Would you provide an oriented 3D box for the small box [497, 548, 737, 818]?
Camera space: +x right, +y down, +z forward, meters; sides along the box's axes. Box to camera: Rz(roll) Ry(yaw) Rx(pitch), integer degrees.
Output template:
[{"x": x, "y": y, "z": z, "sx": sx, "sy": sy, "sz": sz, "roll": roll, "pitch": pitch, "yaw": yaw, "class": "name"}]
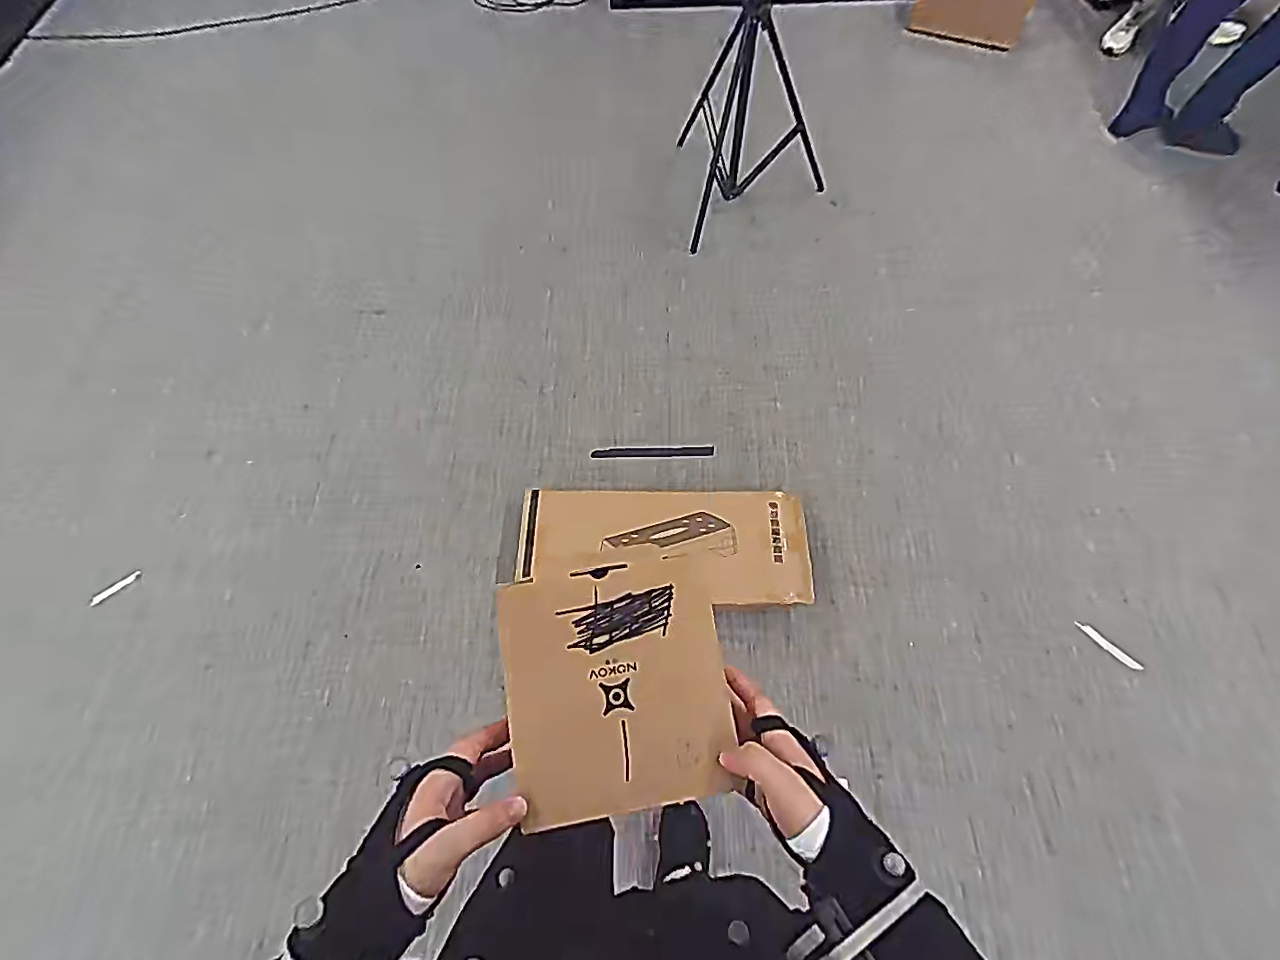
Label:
[{"x": -0.024, "y": 0.168, "z": 0.491, "sx": 0.168, "sy": 0.176, "sz": 0.179, "roll": -9, "pitch": 78, "yaw": -4, "class": "small box"}]
